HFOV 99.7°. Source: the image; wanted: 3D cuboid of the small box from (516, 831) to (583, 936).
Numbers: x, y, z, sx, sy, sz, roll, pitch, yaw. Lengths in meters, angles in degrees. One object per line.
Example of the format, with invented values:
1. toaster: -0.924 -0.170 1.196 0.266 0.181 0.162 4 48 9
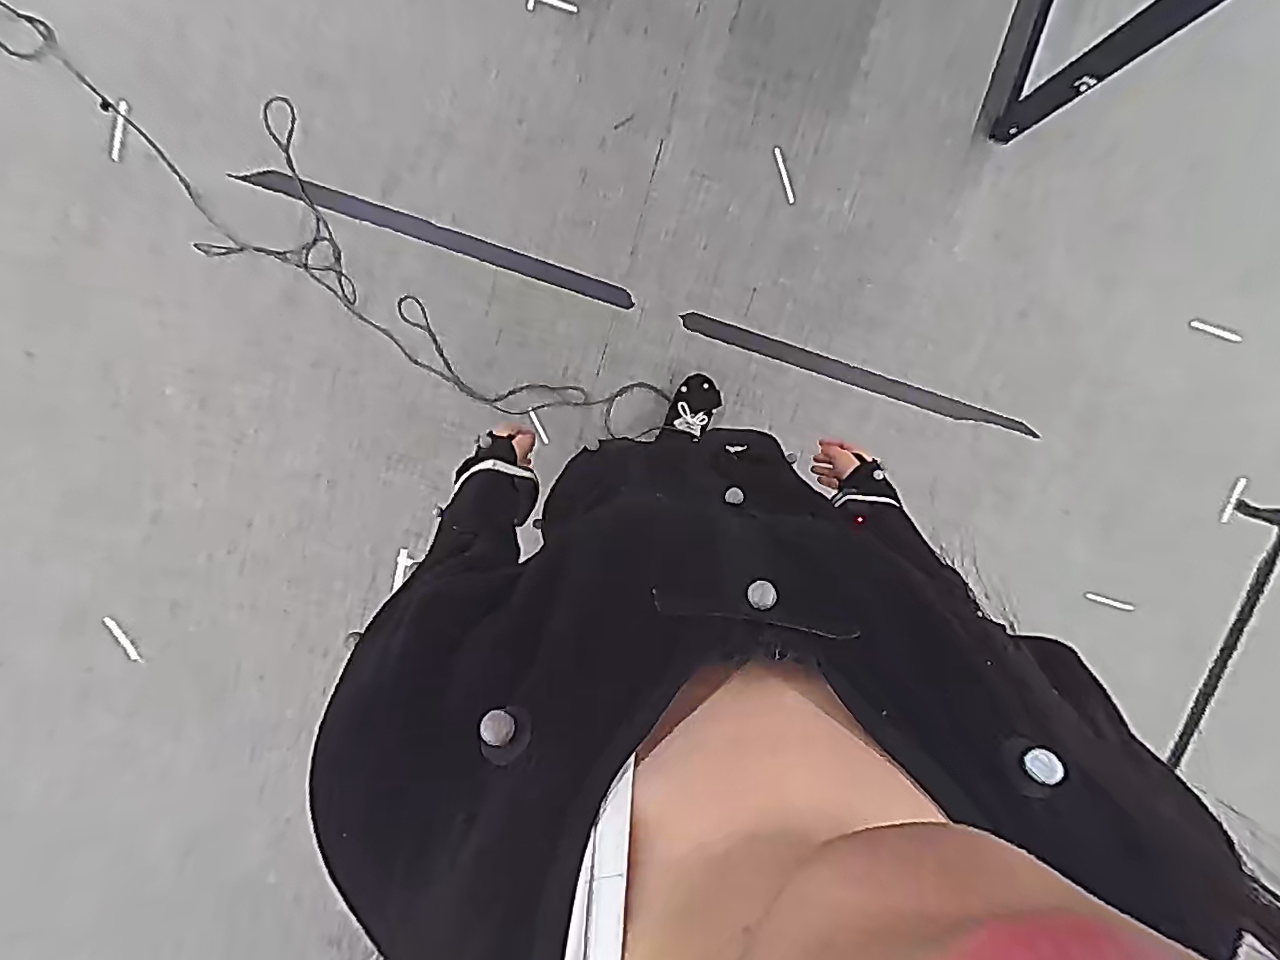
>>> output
1. small box: -0.260 1.174 1.580 0.168 0.176 0.179 7 99 -5
